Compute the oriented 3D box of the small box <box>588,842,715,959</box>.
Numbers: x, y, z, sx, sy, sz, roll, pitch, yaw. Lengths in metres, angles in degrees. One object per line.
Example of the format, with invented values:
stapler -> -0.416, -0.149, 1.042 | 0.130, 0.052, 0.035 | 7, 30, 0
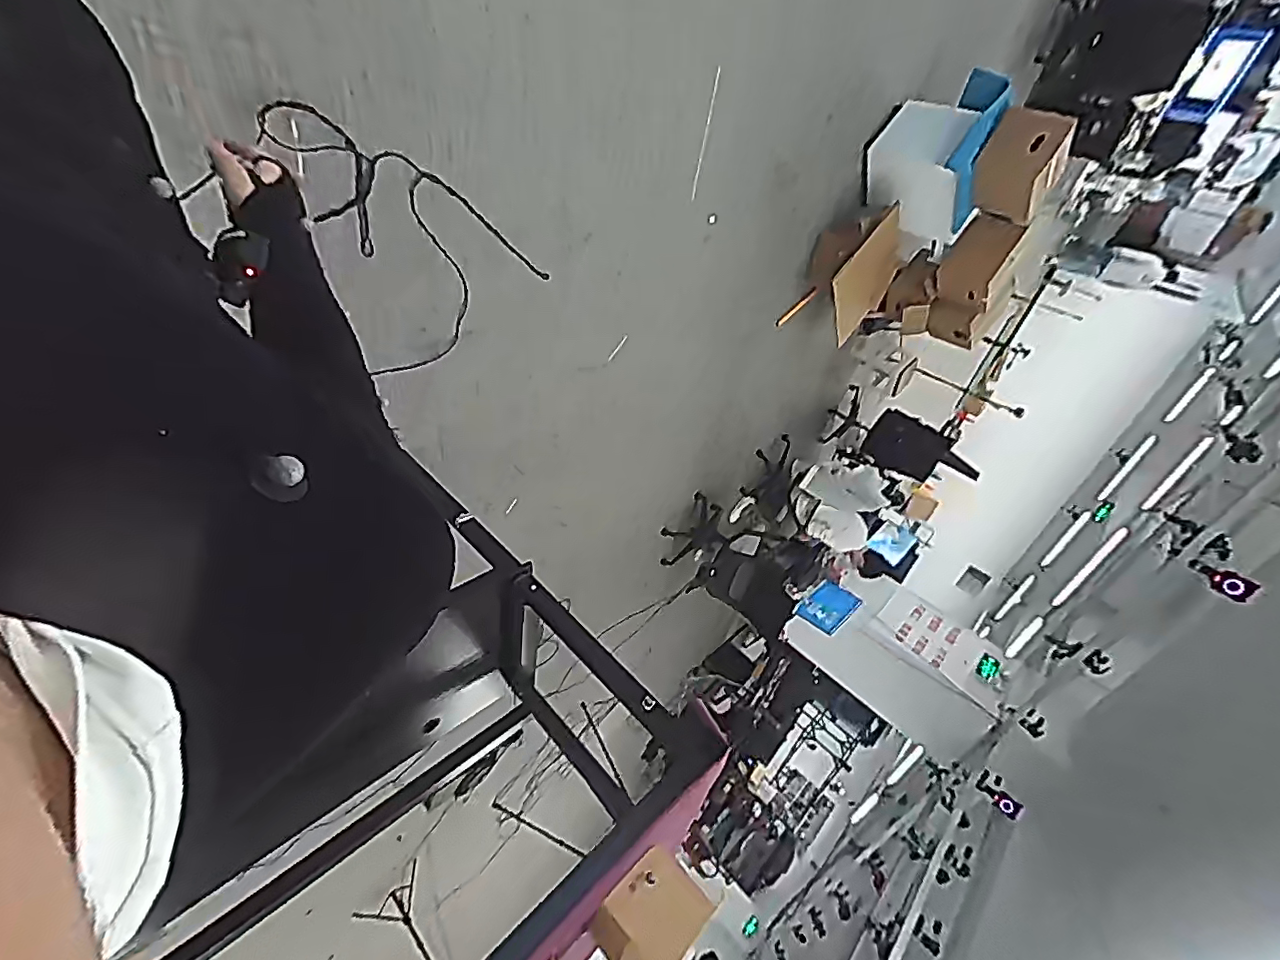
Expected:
small box -> 0.016, 0.878, 1.083 | 0.168, 0.176, 0.179 | -23, 139, -43
